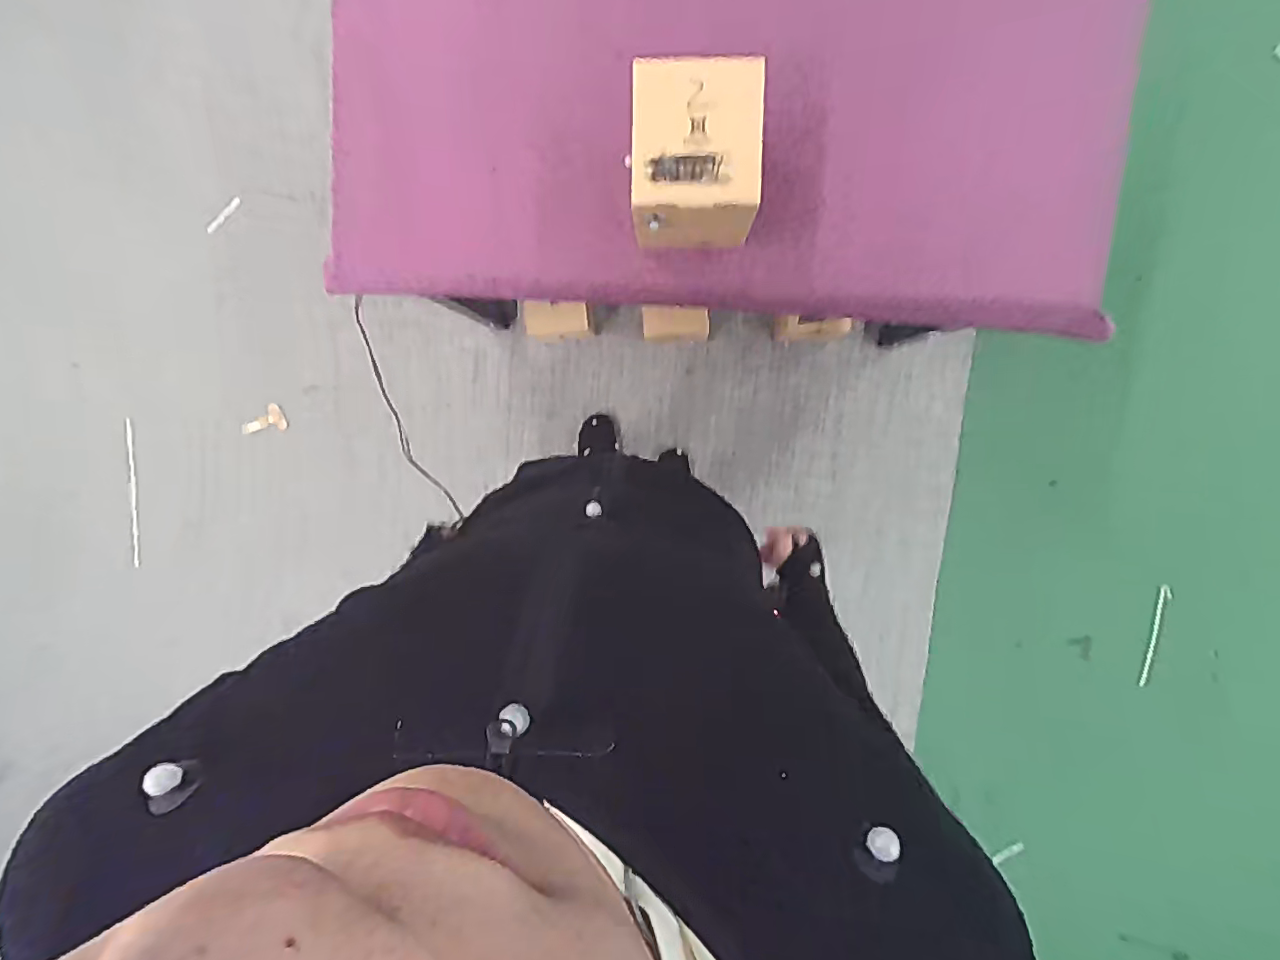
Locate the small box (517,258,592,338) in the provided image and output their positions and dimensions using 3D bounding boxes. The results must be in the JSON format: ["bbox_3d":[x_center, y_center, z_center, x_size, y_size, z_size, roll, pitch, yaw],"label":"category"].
[{"bbox_3d":[-0.228,-0.489,1.481,0.168,0.176,0.179,-5,97,3],"label":"small box"}]

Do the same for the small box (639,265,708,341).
[{"bbox_3d":[0.089,-0.477,1.472,0.179,0.176,0.168,-3,96,3],"label":"small box"}]

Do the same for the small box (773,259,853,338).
[{"bbox_3d":[0.458,-0.482,1.456,0.168,0.176,0.179,1,96,2],"label":"small box"}]
